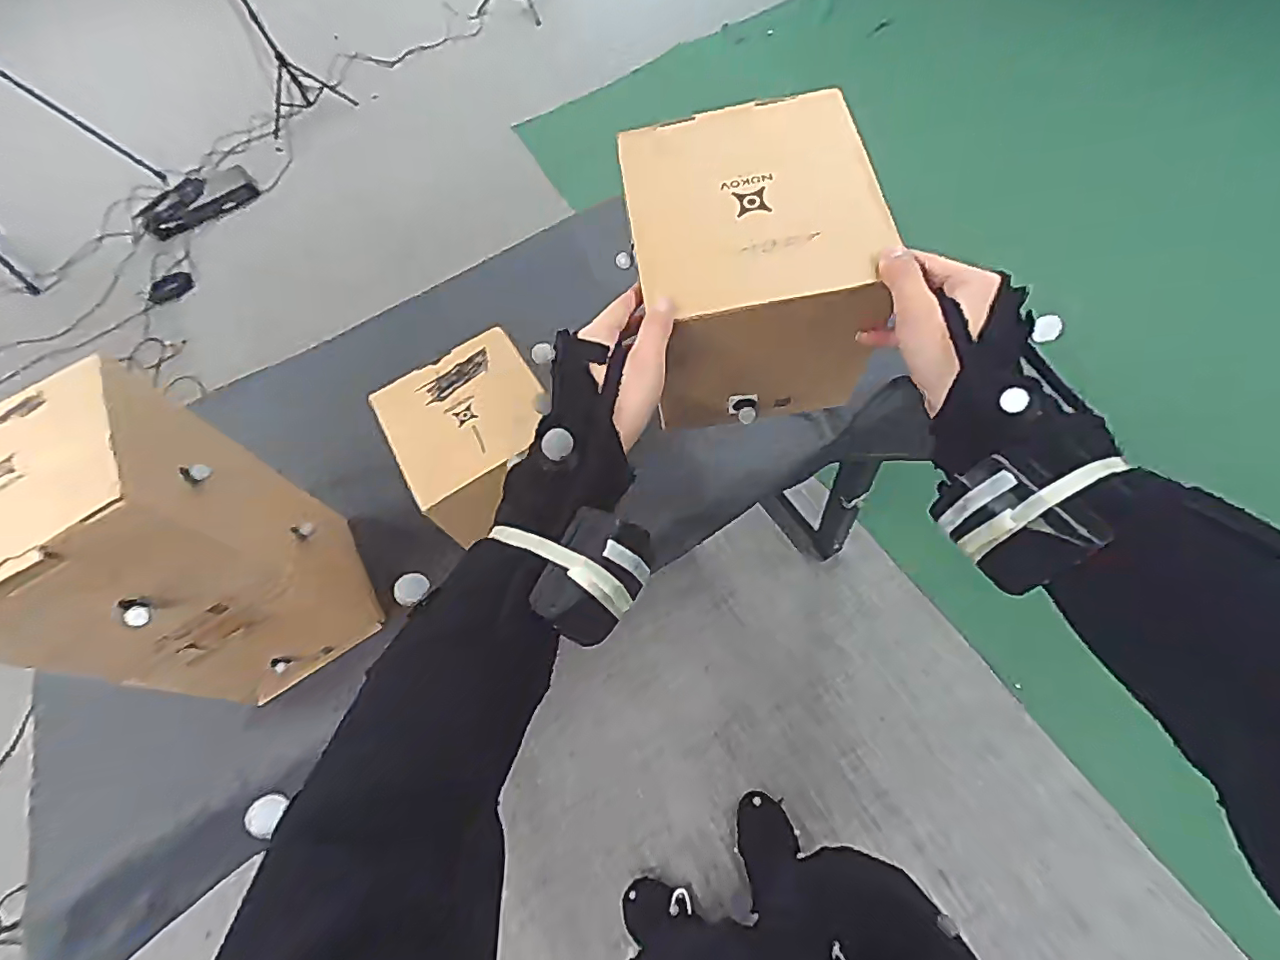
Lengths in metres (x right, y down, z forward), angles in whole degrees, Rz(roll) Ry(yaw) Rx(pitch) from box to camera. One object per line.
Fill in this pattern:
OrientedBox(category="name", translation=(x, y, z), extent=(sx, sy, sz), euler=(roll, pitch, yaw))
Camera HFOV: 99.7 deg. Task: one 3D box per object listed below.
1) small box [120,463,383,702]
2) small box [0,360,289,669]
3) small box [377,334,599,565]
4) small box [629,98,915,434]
OrientedBox(category="small box", translation=(-0.426, 0.121, 0.604), extent=(0.168, 0.176, 0.179), euler=(-33, 61, -9))
OrientedBox(category="small box", translation=(-0.445, 0.041, 0.462), extent=(0.168, 0.176, 0.179), euler=(-35, 62, -10))
OrientedBox(category="small box", translation=(-0.170, -0.030, 0.639), extent=(0.168, 0.176, 0.179), euler=(-32, 61, -8))
OrientedBox(category="small box", translation=(0.087, -0.159, 0.441), extent=(0.168, 0.176, 0.179), euler=(-9, 69, 3))
